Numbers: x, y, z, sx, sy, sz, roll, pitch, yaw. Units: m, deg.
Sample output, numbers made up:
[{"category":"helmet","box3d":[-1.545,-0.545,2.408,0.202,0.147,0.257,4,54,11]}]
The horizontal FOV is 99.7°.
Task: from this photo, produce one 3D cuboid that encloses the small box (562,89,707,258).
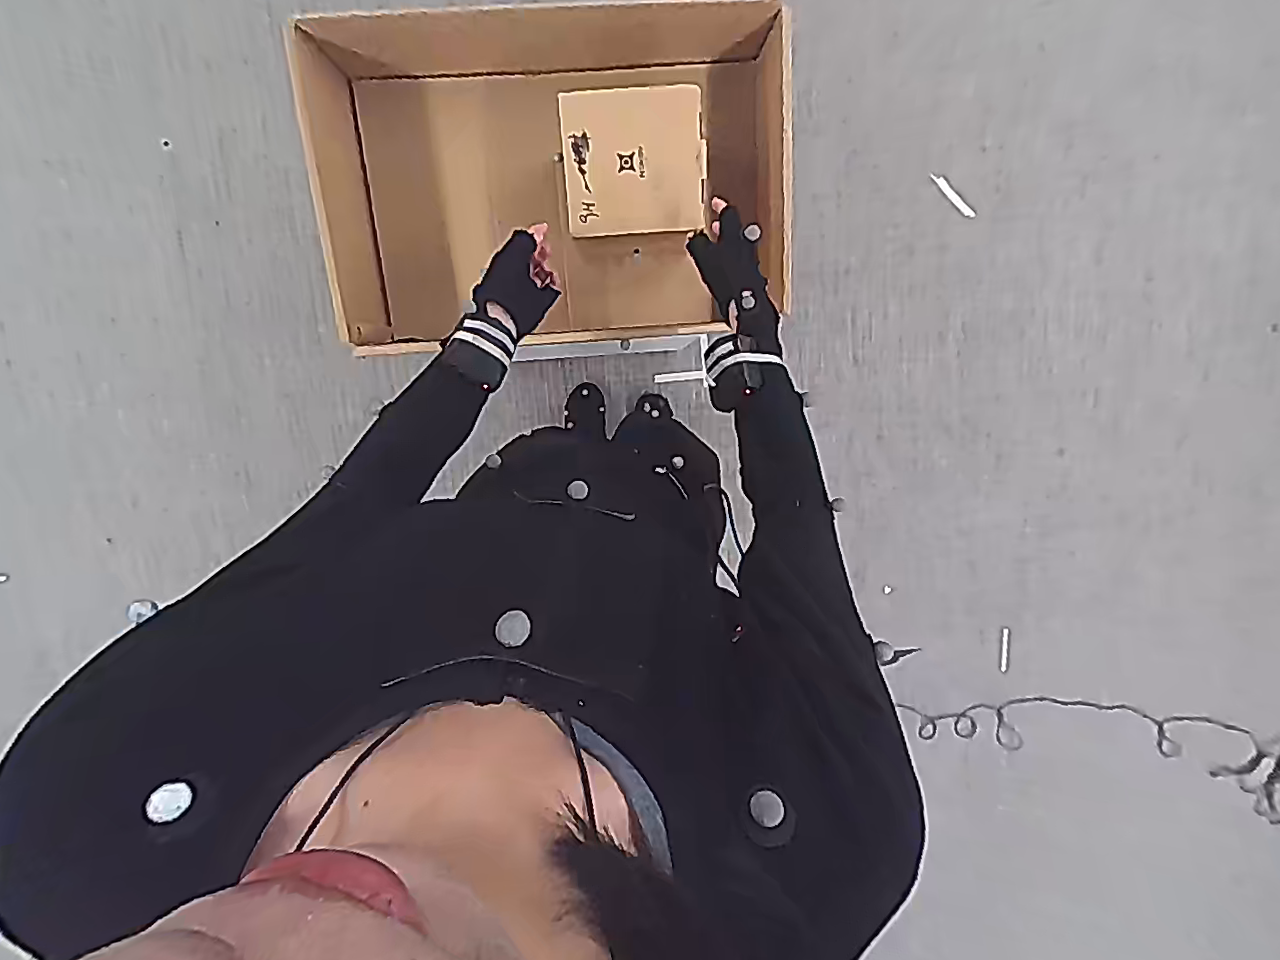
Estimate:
[{"category":"small box","box3d":[-0.009,-0.411,0.750,0.179,0.176,0.168,-4,103,-1]}]
